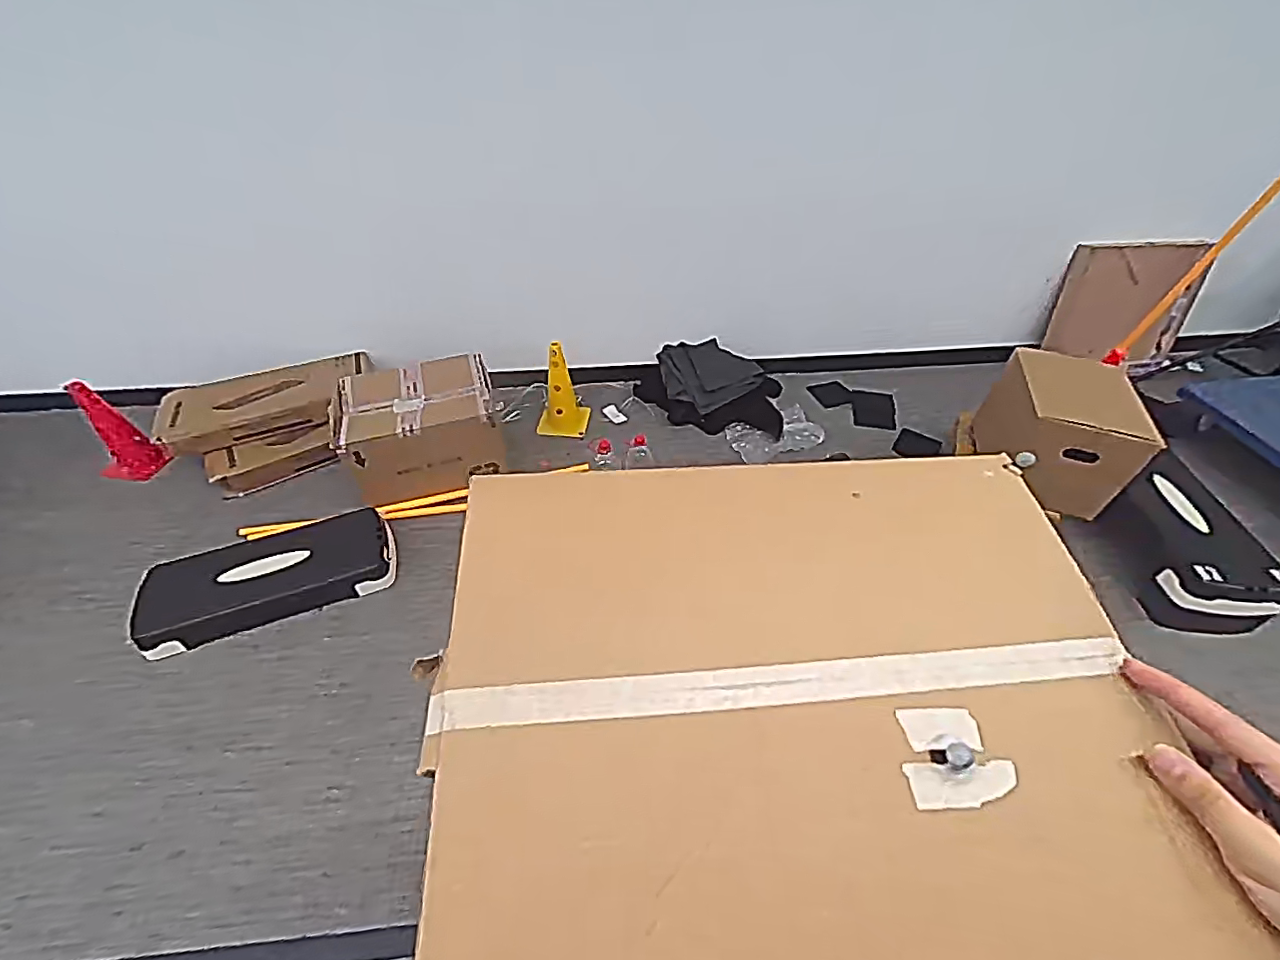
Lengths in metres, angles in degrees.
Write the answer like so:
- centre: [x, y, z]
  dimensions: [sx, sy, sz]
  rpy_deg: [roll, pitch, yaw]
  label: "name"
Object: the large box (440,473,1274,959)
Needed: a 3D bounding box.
- centre: [0.085, 0.215, 0.441]
  dimensions: [0.408, 0.320, 0.320]
  rpy_deg: [-2, 55, -6]
  label: "large box"
